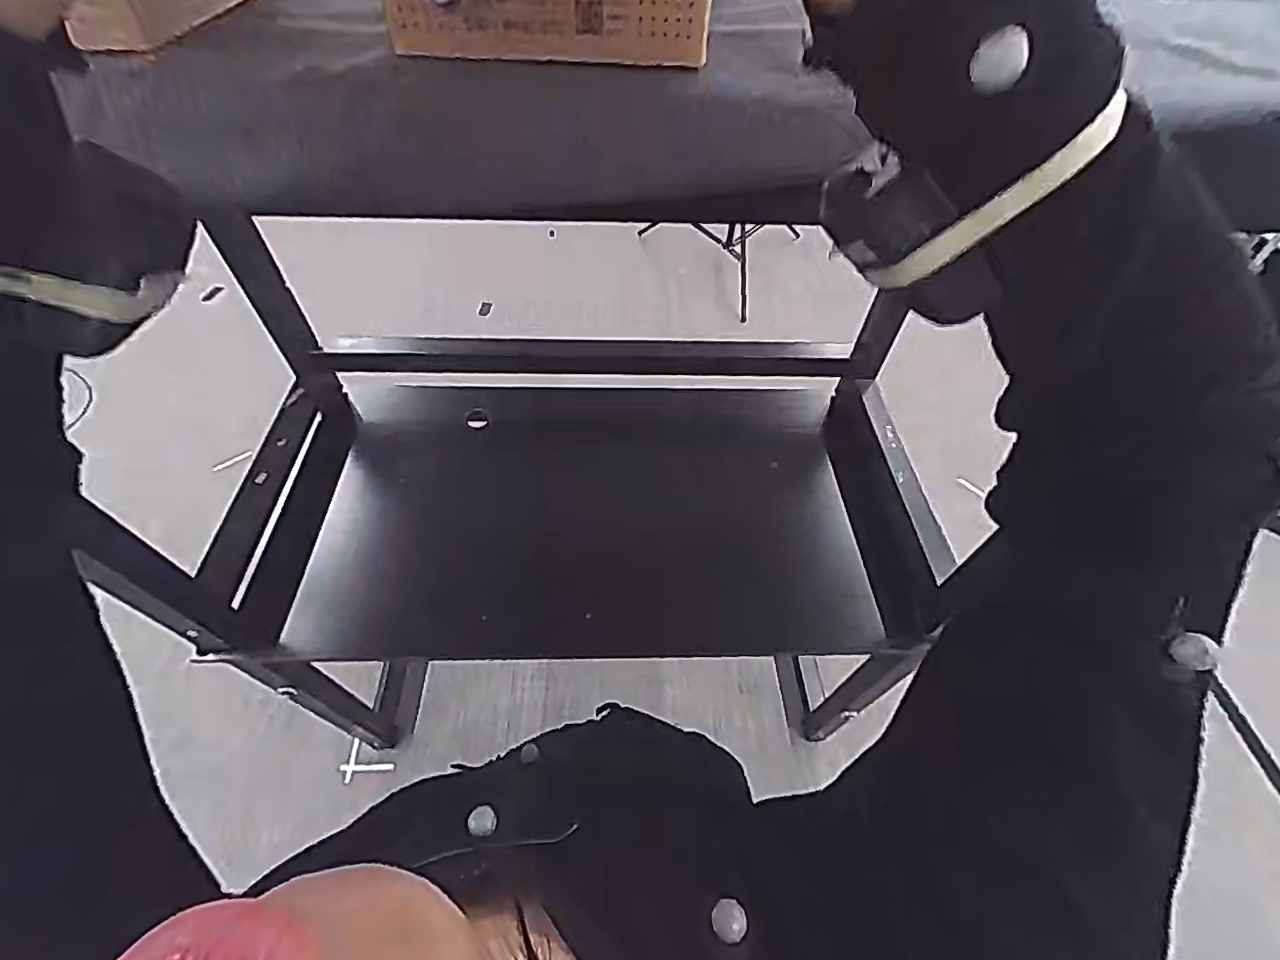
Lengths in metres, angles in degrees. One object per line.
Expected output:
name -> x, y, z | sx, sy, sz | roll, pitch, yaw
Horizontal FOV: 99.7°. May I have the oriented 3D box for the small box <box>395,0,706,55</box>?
small box -> -0.046, -0.341, 0.275 | 0.168, 0.176, 0.179 | 1, 50, -3
